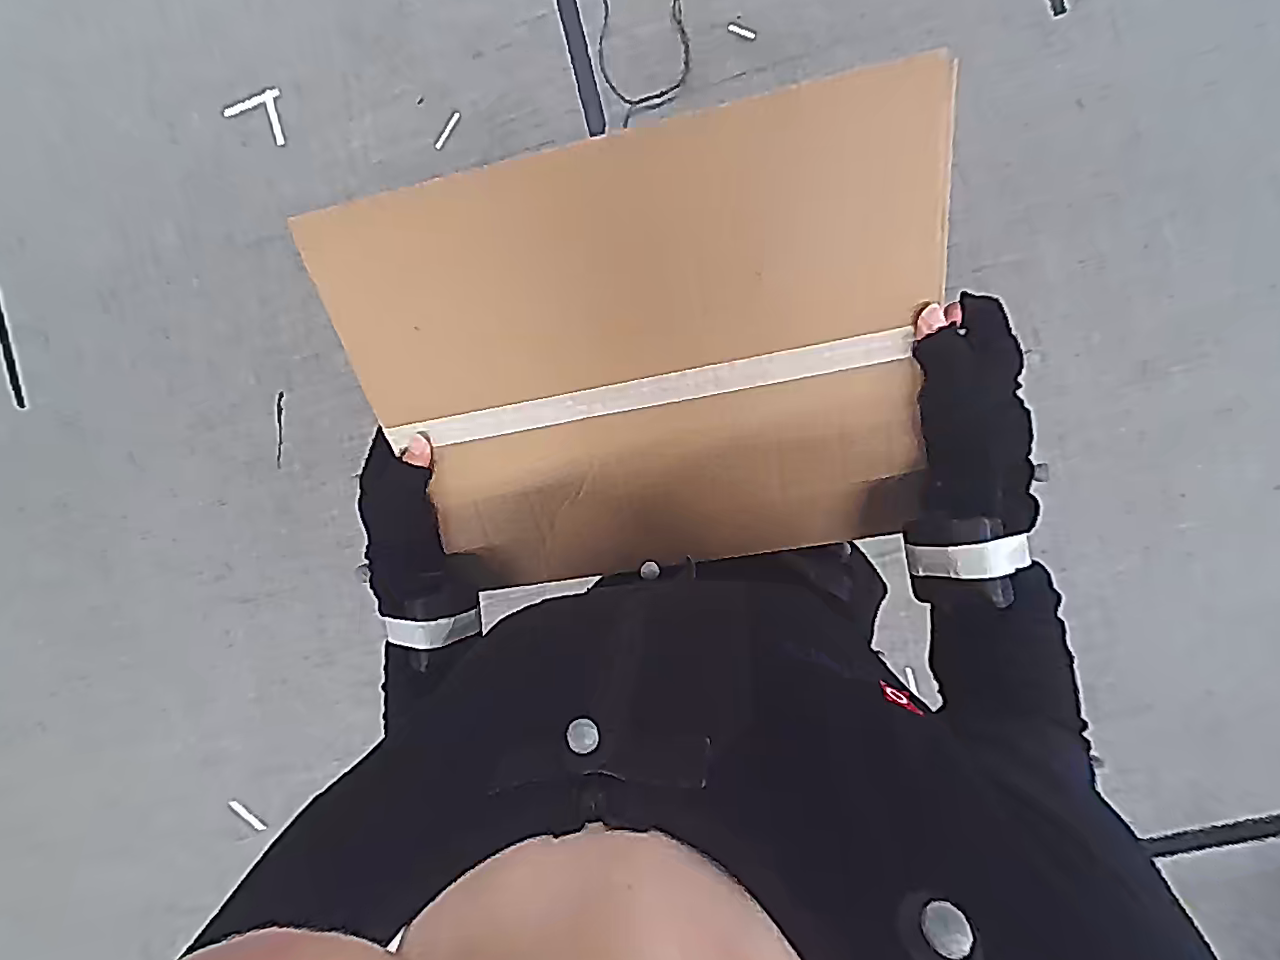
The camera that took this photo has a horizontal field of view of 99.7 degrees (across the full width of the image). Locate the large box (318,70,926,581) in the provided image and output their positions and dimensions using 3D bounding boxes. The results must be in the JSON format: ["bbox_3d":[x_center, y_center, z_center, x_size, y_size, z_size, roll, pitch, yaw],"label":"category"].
[{"bbox_3d":[0.013,-0.142,0.534,0.408,0.320,0.320,-10,117,9],"label":"large box"}]
